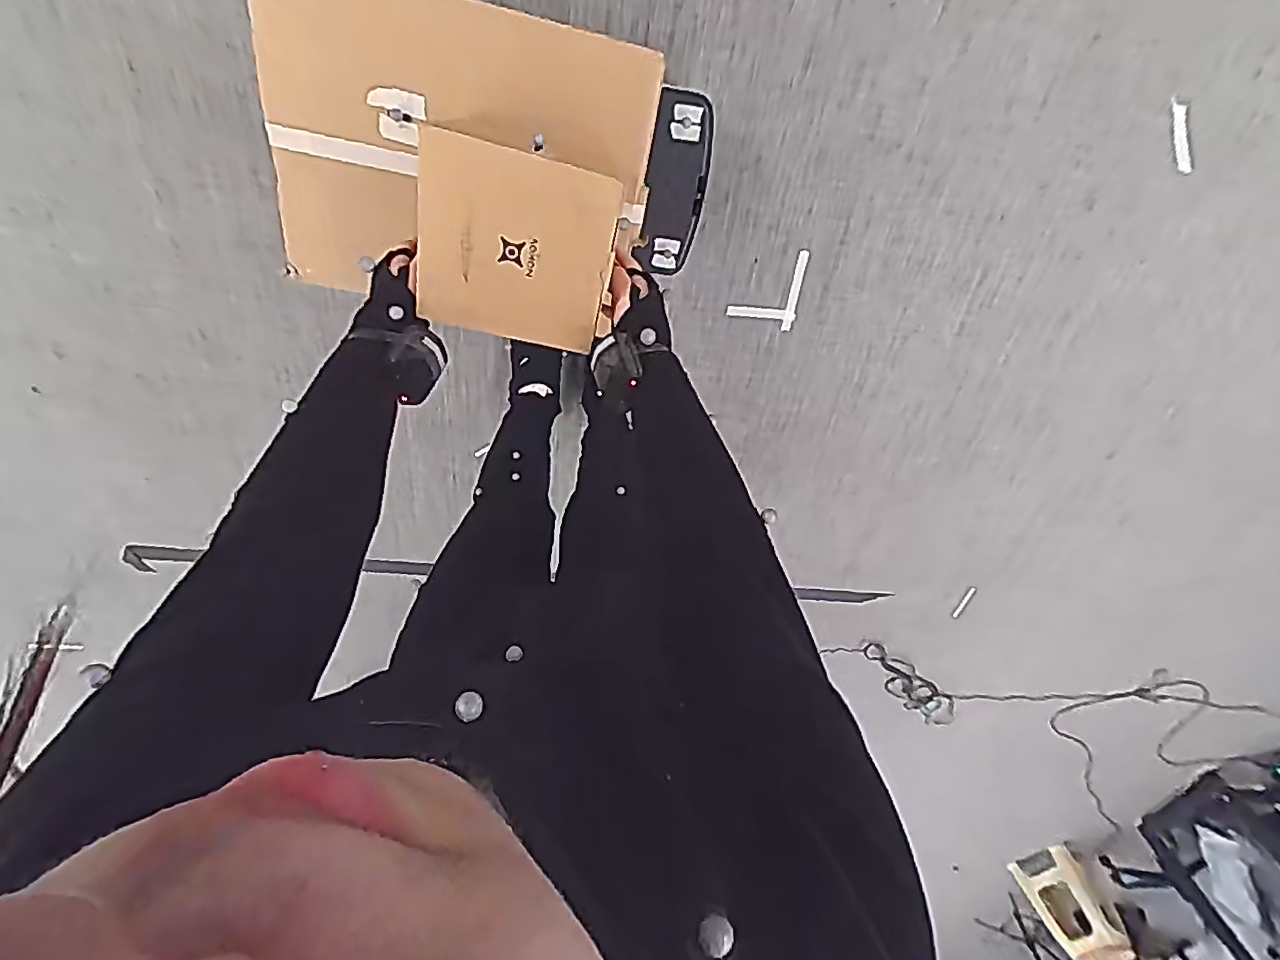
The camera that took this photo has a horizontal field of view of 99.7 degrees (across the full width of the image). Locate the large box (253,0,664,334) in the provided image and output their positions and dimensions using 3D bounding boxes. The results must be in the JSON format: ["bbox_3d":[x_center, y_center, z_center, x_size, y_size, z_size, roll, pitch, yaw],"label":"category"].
[{"bbox_3d":[-0.202,-0.425,0.727,0.408,0.320,0.320,8,123,-9],"label":"large box"}]

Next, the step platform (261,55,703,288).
[{"bbox_3d":[-0.239,-0.552,0.926,0.684,0.204,0.286,10,123,-10],"label":"step platform"}]

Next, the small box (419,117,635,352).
[{"bbox_3d":[-0.112,-0.255,0.553,0.179,0.176,0.168,10,123,-11],"label":"small box"}]
